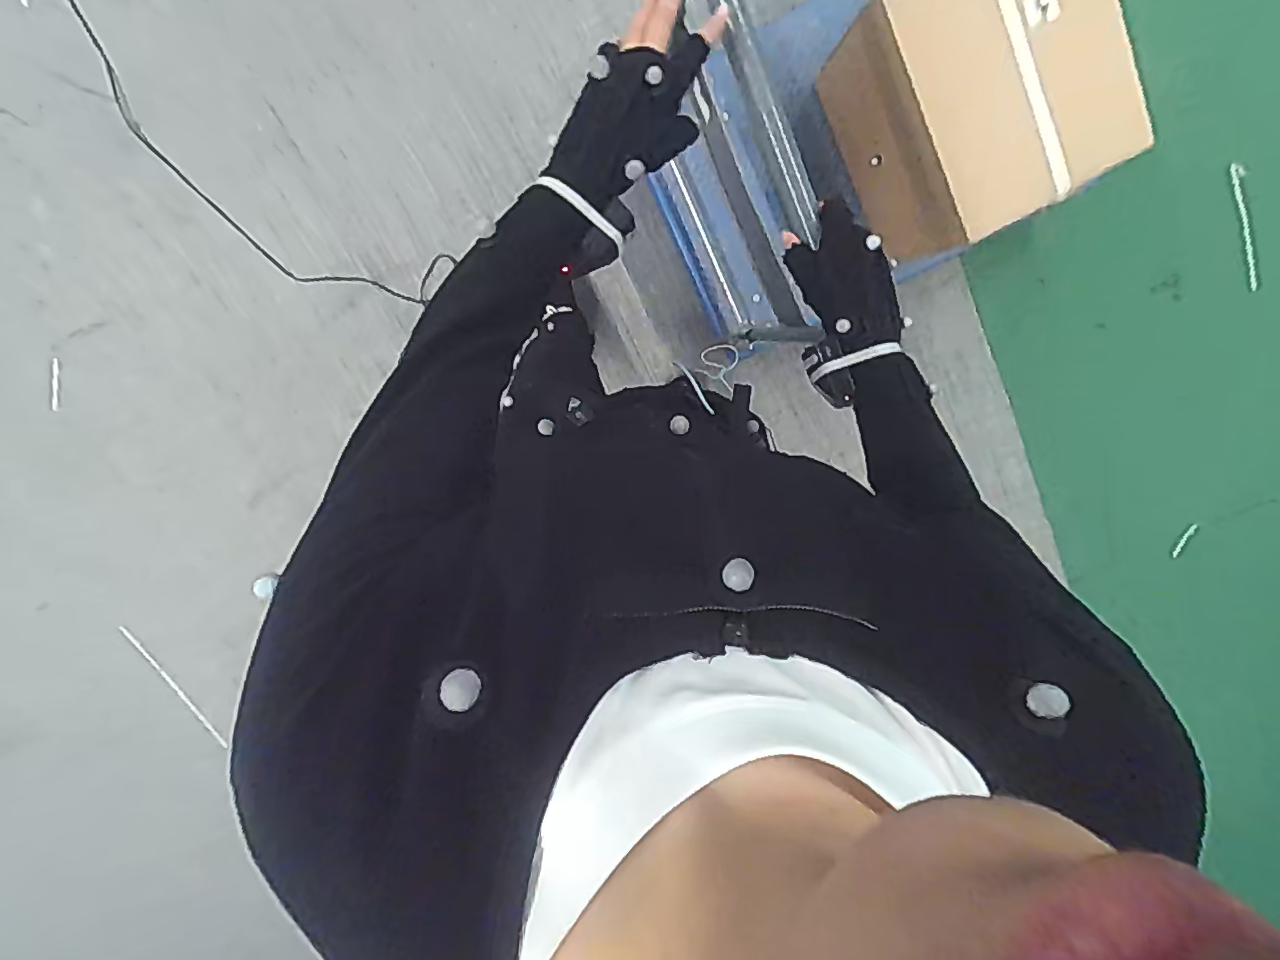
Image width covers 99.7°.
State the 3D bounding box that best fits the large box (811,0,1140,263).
[{"bbox_3d":[0.571,-0.673,0.982,0.320,0.320,0.408,-28,102,6],"label":"large box"}]
